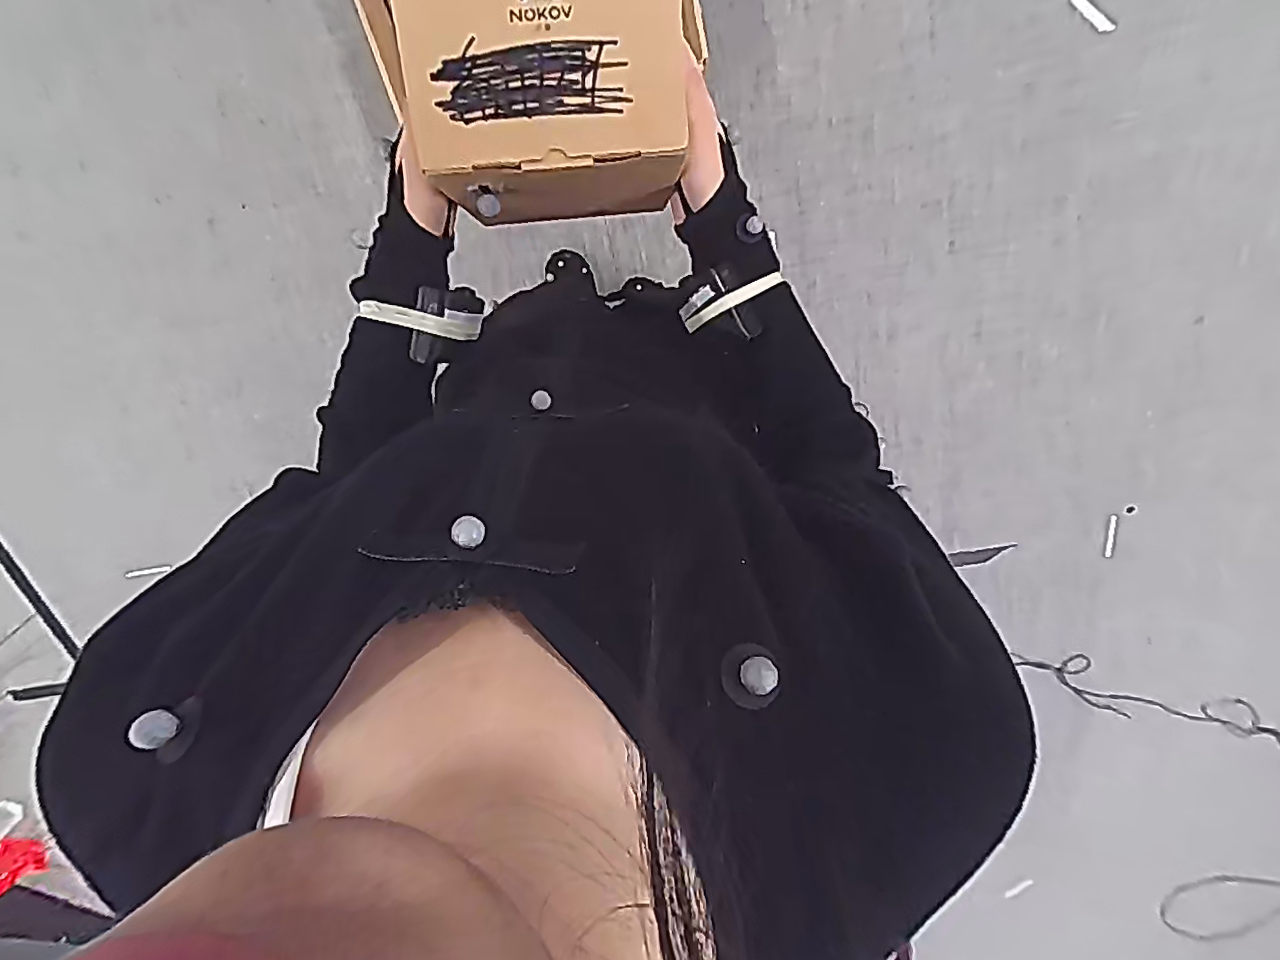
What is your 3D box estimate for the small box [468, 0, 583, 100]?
[{"bbox_3d":[-0.223,-0.893,1.063,0.168,0.176,0.179,-18,111,9],"label":"small box"}]
